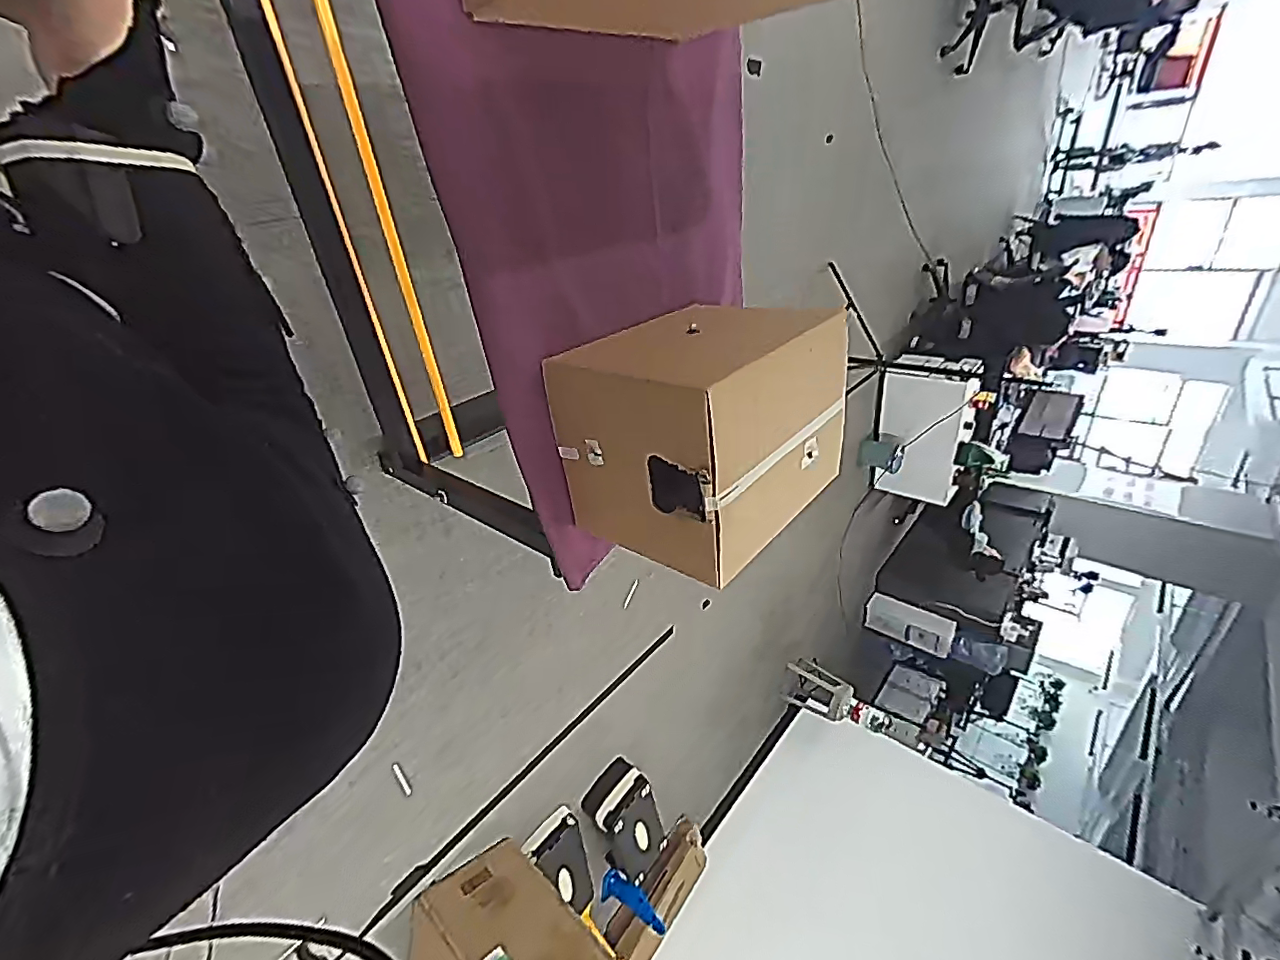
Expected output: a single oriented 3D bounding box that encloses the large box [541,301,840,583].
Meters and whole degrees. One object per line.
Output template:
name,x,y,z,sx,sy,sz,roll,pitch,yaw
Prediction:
large box,0.103,-0.101,0.921,0.408,0.320,0.320,-35,130,-39
